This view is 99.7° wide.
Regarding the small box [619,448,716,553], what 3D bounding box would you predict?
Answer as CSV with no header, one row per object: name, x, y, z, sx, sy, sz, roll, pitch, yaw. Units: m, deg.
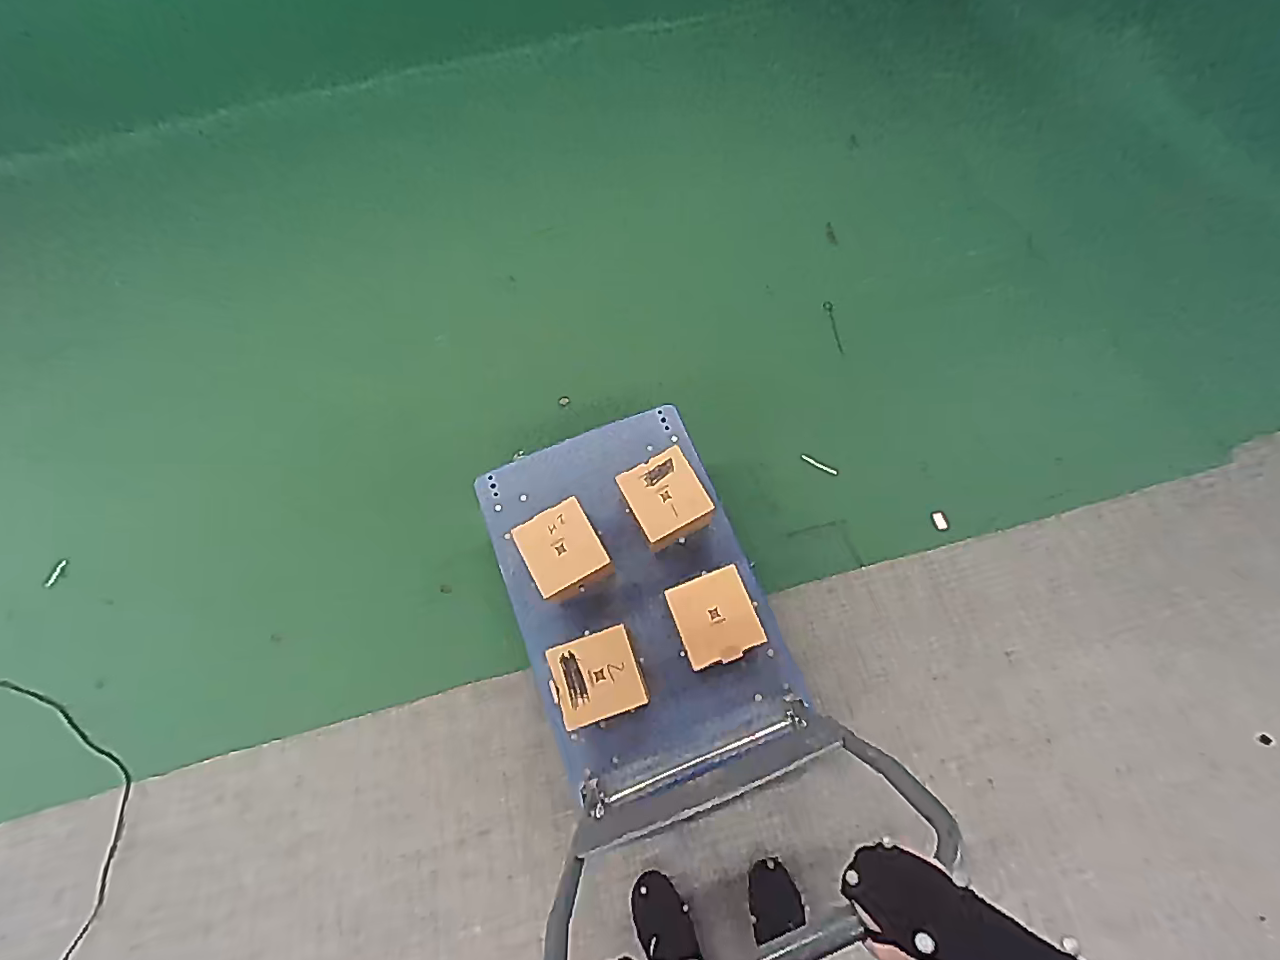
small box,0.061,0.056,1.288,0.168,0.176,0.179,-28,75,-6

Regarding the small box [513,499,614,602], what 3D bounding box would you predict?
small box,-0.170,0.172,1.261,0.168,0.176,0.179,-28,75,-7

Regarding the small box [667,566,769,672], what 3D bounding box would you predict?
small box,0.163,0.312,1.210,0.168,0.176,0.179,-21,75,-4
